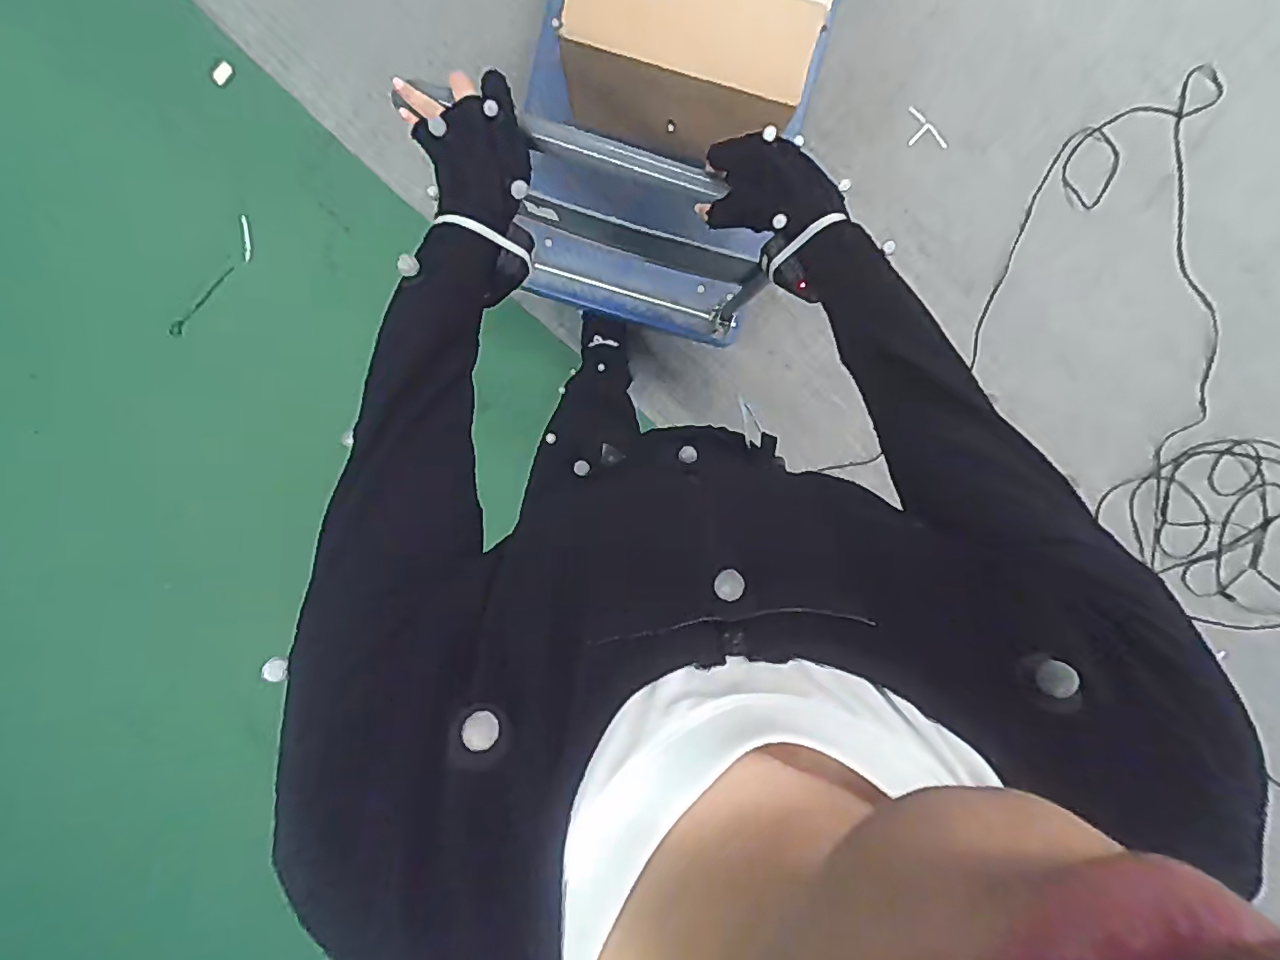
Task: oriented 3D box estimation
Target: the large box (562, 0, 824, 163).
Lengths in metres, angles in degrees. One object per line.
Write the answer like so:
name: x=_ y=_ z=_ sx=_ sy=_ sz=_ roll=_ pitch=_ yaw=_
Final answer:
large box: x=0.102 y=-0.841 z=0.990 sx=0.408 sy=0.320 sz=0.320 roll=14 pitch=100 yaw=-3
